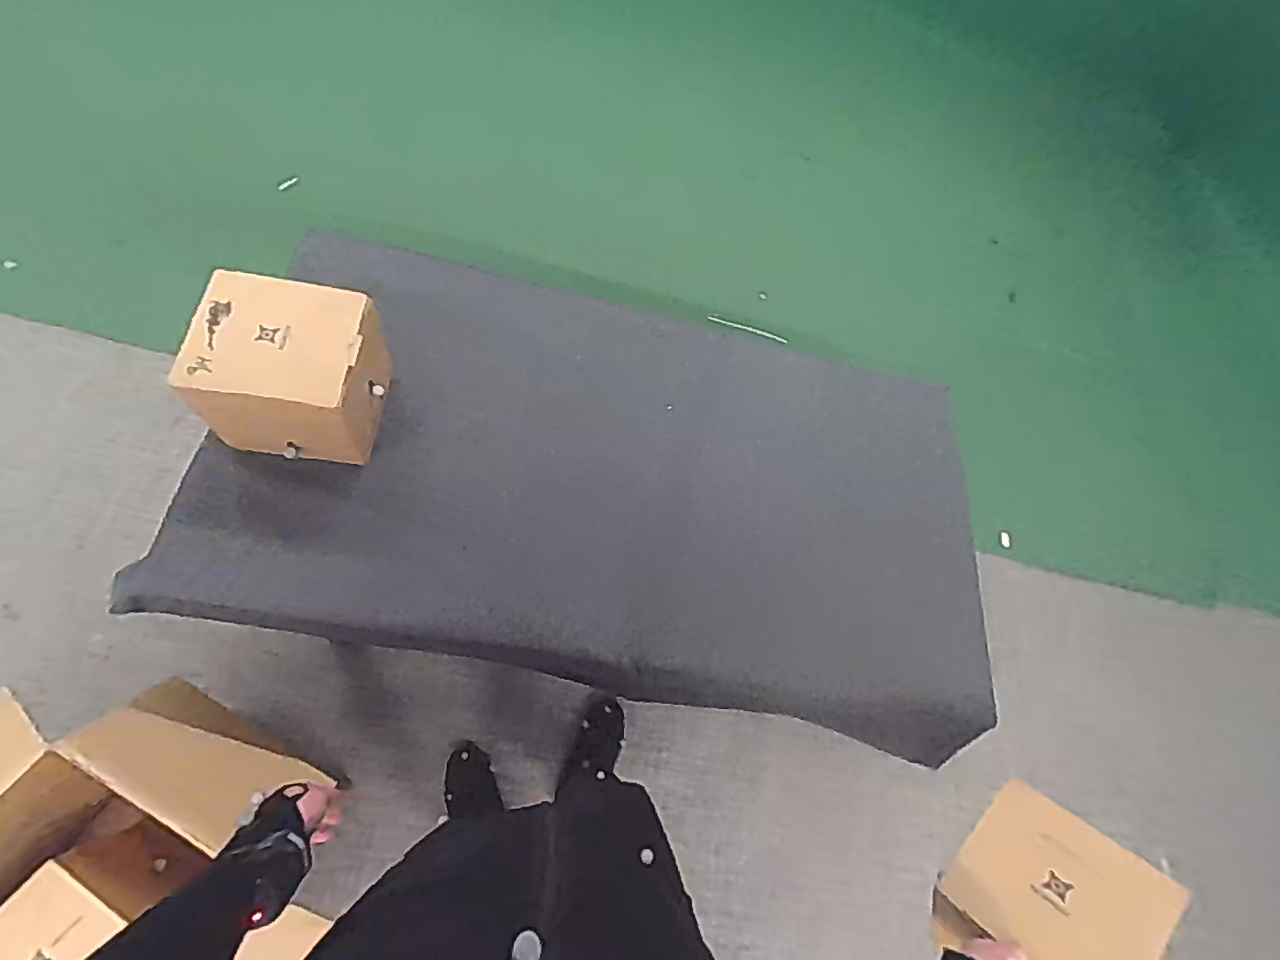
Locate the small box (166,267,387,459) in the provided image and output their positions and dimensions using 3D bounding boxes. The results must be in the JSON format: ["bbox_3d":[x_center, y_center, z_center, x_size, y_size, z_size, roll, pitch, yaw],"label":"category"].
[{"bbox_3d":[-0.446,-0.139,0.703,0.179,0.176,0.168,8,66,-13],"label":"small box"}]

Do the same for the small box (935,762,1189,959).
[{"bbox_3d":[0.459,0.475,0.607,0.179,0.176,0.168,-34,35,-23],"label":"small box"}]
